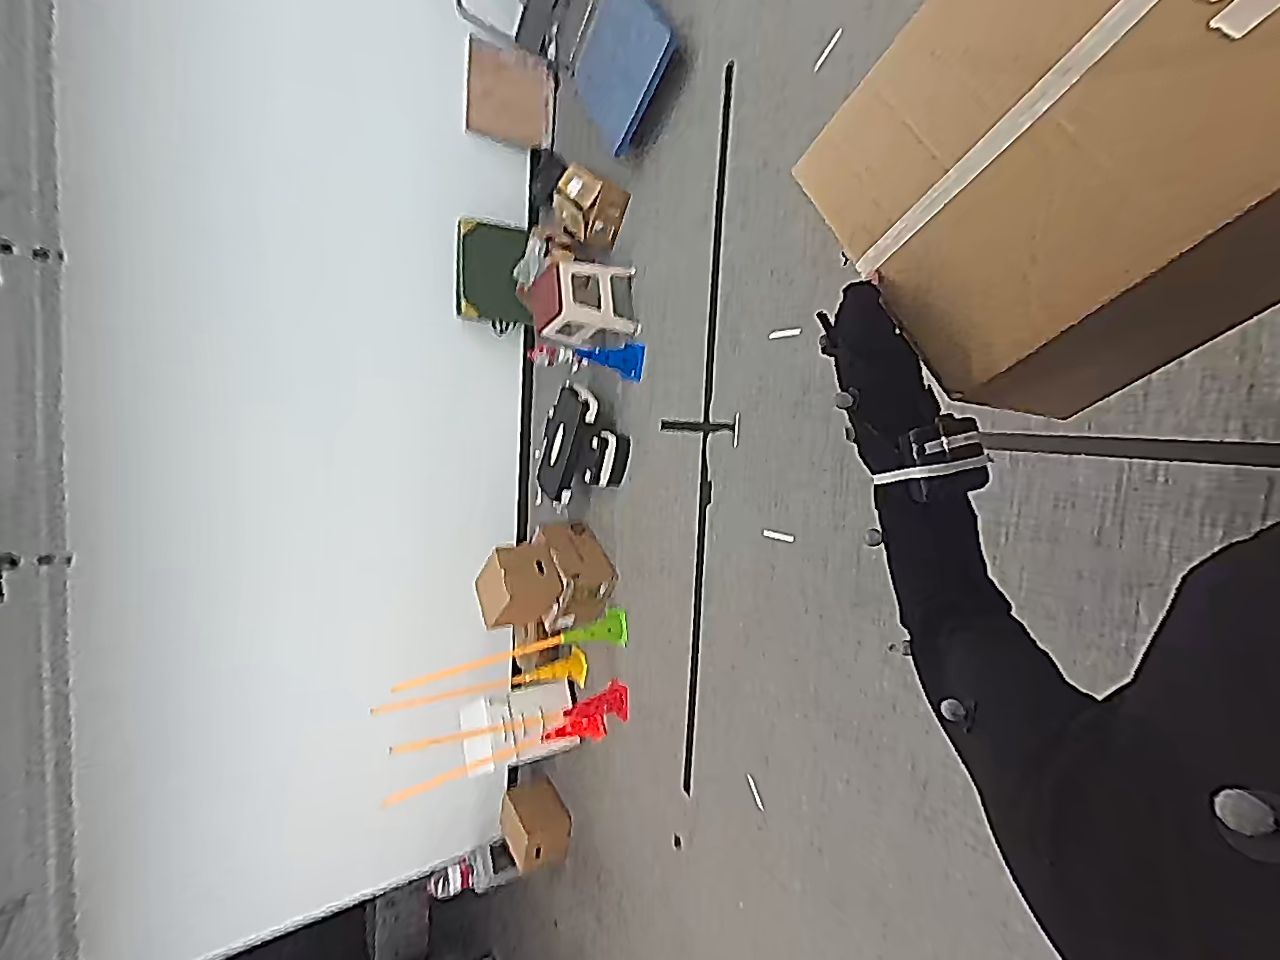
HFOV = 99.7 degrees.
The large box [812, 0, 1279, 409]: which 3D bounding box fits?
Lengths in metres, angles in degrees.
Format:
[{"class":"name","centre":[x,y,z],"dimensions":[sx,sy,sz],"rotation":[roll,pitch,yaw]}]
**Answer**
[{"class":"large box","centre":[0.448,-0.311,0.475],"dimensions":[0.408,0.320,0.320],"rotation":[-43,58,43]}]
